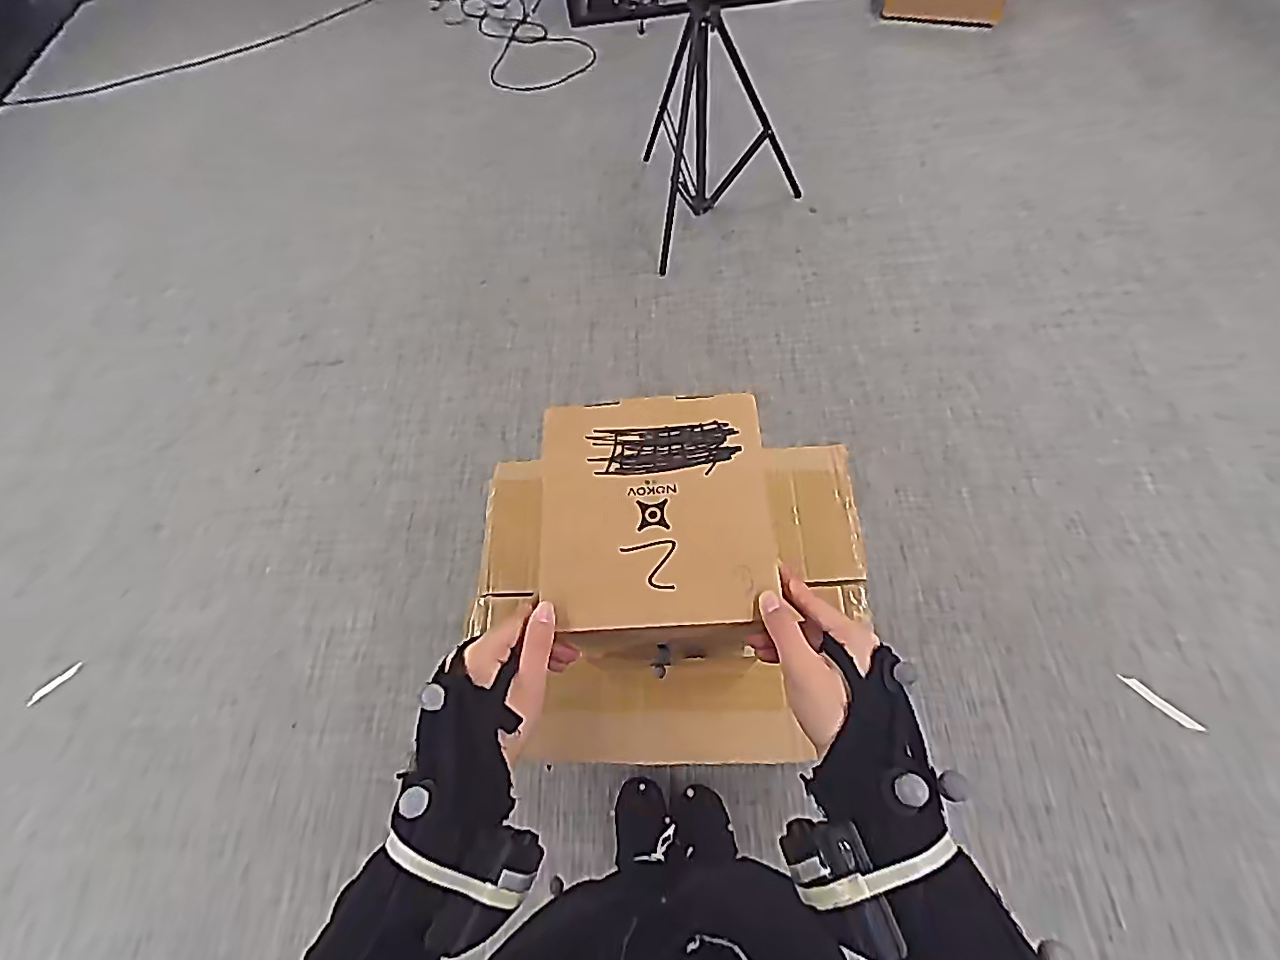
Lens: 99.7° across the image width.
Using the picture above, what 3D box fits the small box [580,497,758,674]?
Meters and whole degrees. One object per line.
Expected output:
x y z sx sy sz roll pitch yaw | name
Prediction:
0.035 0.130 0.626 0.179 0.176 0.168 -2 65 4 | small box
